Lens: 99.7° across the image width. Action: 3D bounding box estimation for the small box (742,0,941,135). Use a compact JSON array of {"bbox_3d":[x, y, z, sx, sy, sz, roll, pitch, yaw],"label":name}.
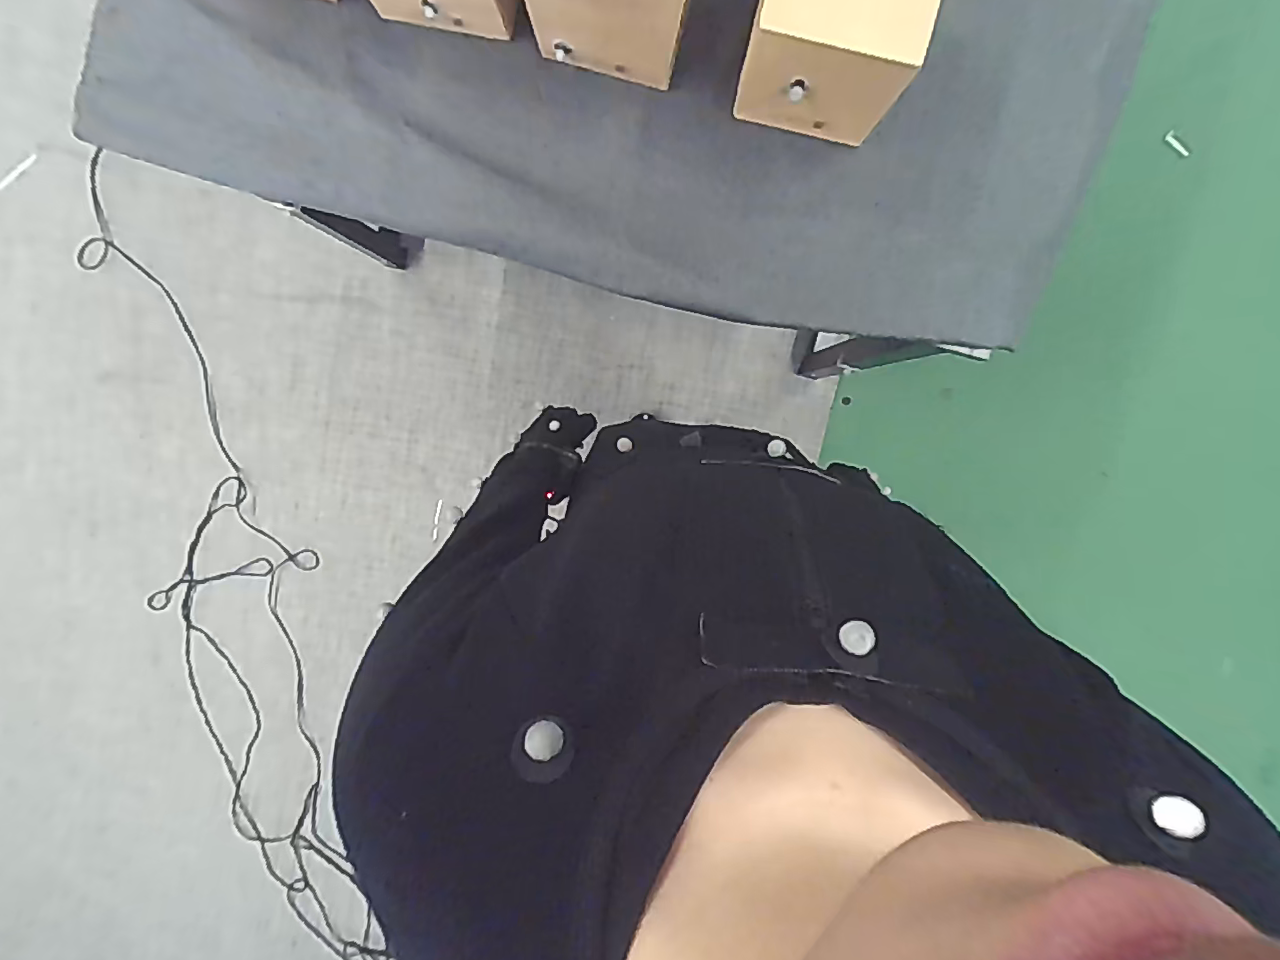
[{"bbox_3d":[0.215,-0.513,0.583,0.168,0.176,0.179,13,98,0],"label":"small box"}]
